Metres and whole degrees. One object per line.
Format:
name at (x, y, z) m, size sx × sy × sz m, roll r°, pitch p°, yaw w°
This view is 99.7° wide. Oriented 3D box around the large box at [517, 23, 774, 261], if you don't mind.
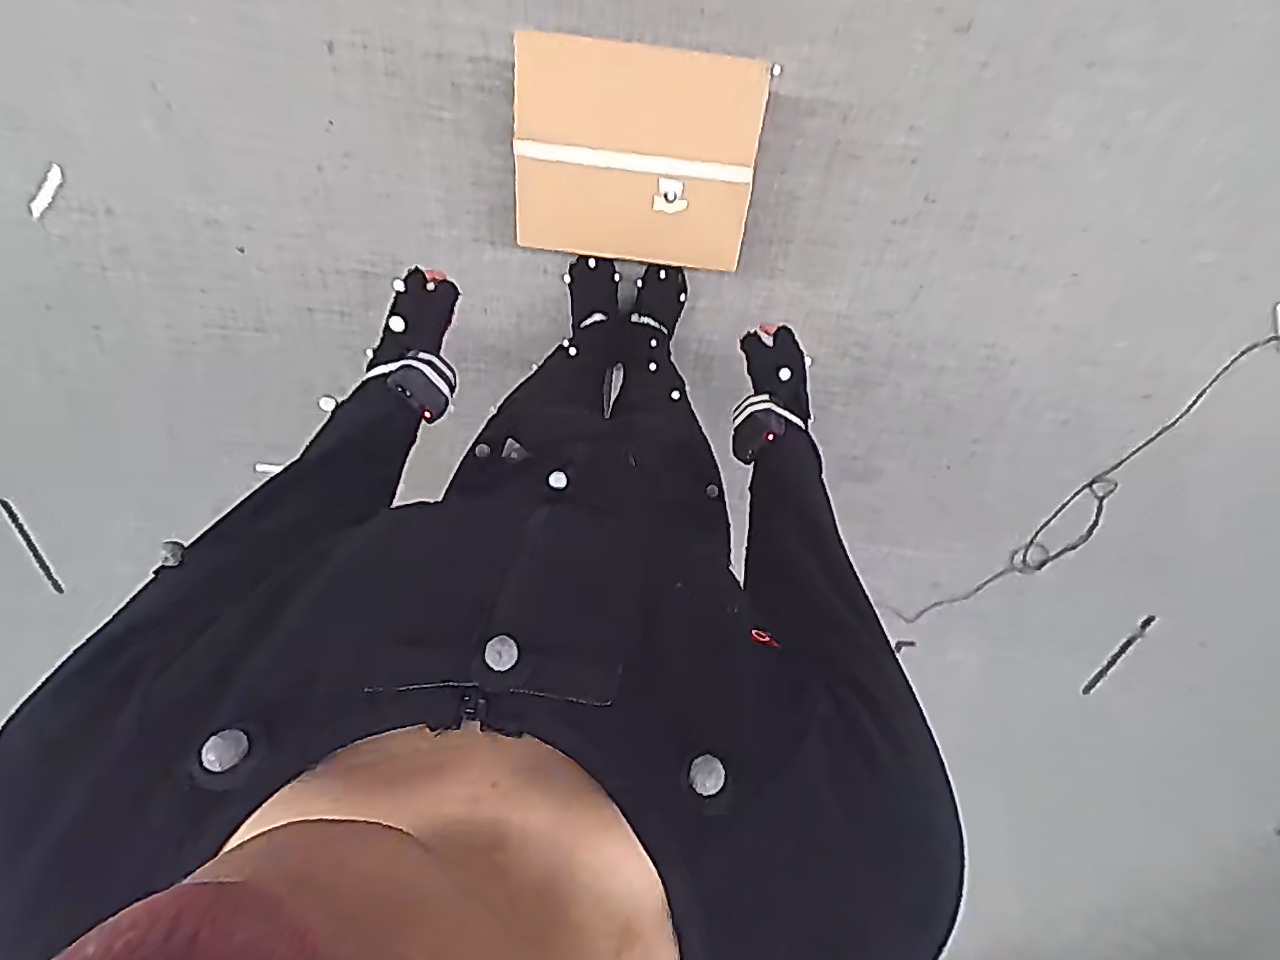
large box at (-0.002, -0.622, 1.030) m, size 0.408 × 0.320 × 0.320 m, roll 6°, pitch 122°, yaw -2°
